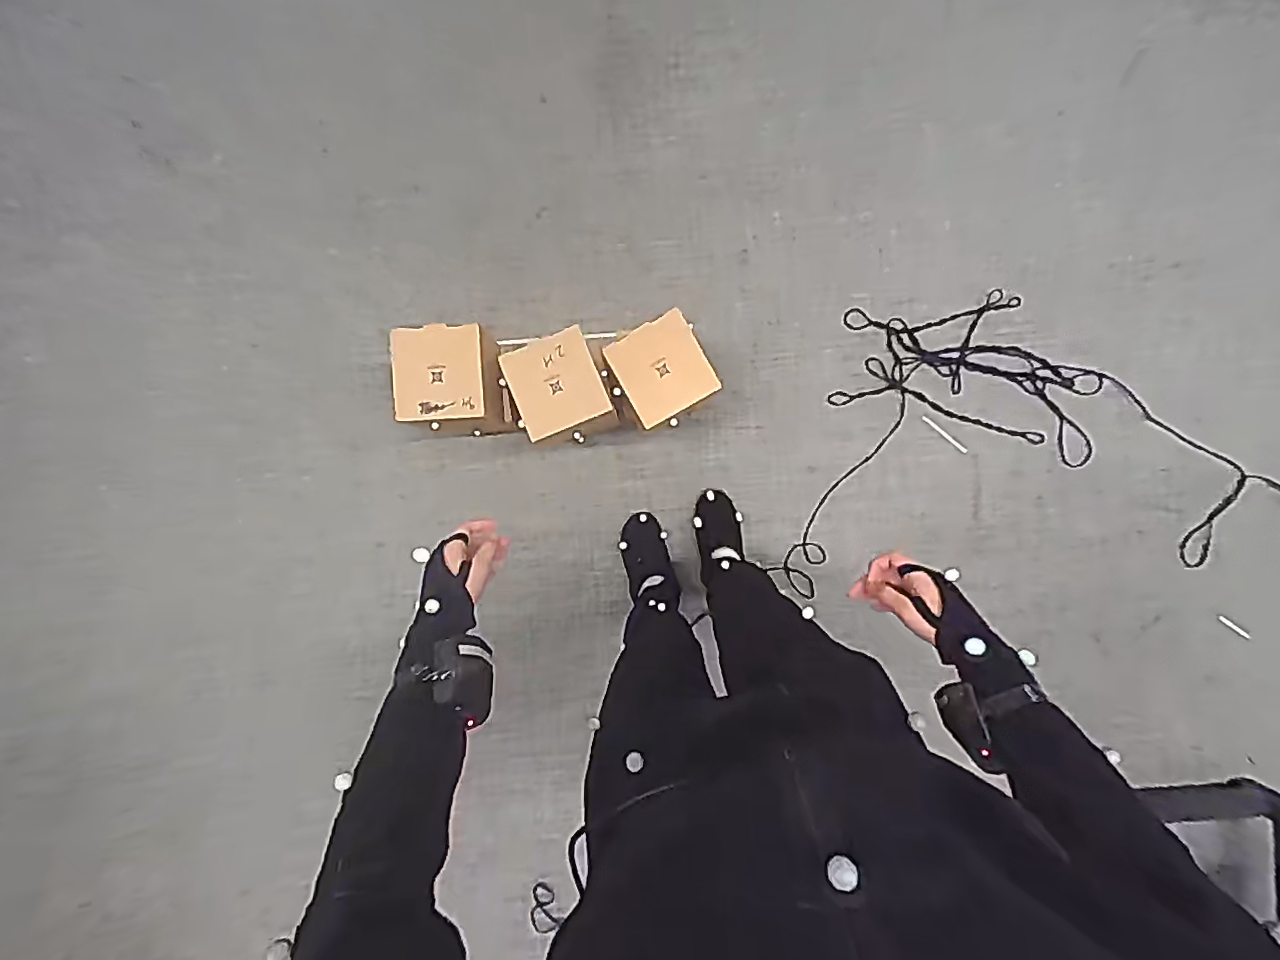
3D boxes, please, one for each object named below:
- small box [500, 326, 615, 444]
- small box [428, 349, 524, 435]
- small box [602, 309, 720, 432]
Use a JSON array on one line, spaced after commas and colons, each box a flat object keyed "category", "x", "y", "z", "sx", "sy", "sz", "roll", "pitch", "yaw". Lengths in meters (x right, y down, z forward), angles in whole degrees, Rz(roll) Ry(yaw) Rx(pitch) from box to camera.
[{"category": "small box", "x": -0.155, "y": -0.179, "z": 1.081, "sx": 0.168, "sy": 0.176, "sz": 0.179, "roll": -22, "pitch": 89, "yaw": -1}, {"category": "small box", "x": -0.366, "y": -0.197, "z": 1.241, "sx": 0.179, "sy": 0.176, "sz": 0.168, "roll": -4, "pitch": 89, "yaw": 0}, {"category": "small box", "x": 0.041, "y": -0.206, "z": 1.082, "sx": 0.168, "sy": 0.176, "sz": 0.179, "roll": -30, "pitch": 89, "yaw": 0}]
